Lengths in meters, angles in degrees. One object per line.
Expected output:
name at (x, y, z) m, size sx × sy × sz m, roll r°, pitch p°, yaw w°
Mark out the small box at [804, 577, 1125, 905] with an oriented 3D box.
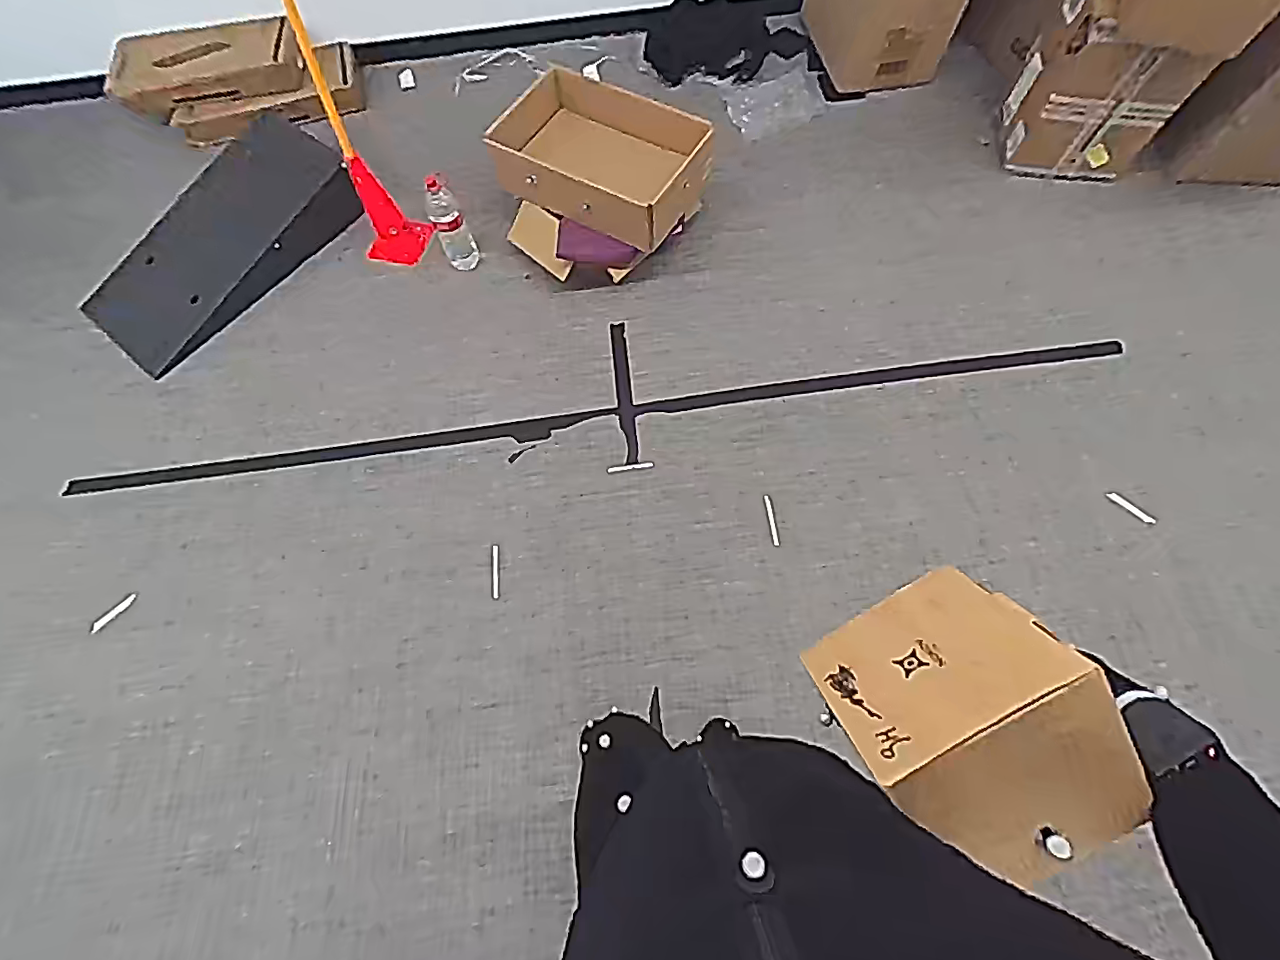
small box at (0.288, 0.228, 0.495) m, size 0.179 × 0.168 × 0.176 m, roll -32°, pitch 106°, yaw 5°
